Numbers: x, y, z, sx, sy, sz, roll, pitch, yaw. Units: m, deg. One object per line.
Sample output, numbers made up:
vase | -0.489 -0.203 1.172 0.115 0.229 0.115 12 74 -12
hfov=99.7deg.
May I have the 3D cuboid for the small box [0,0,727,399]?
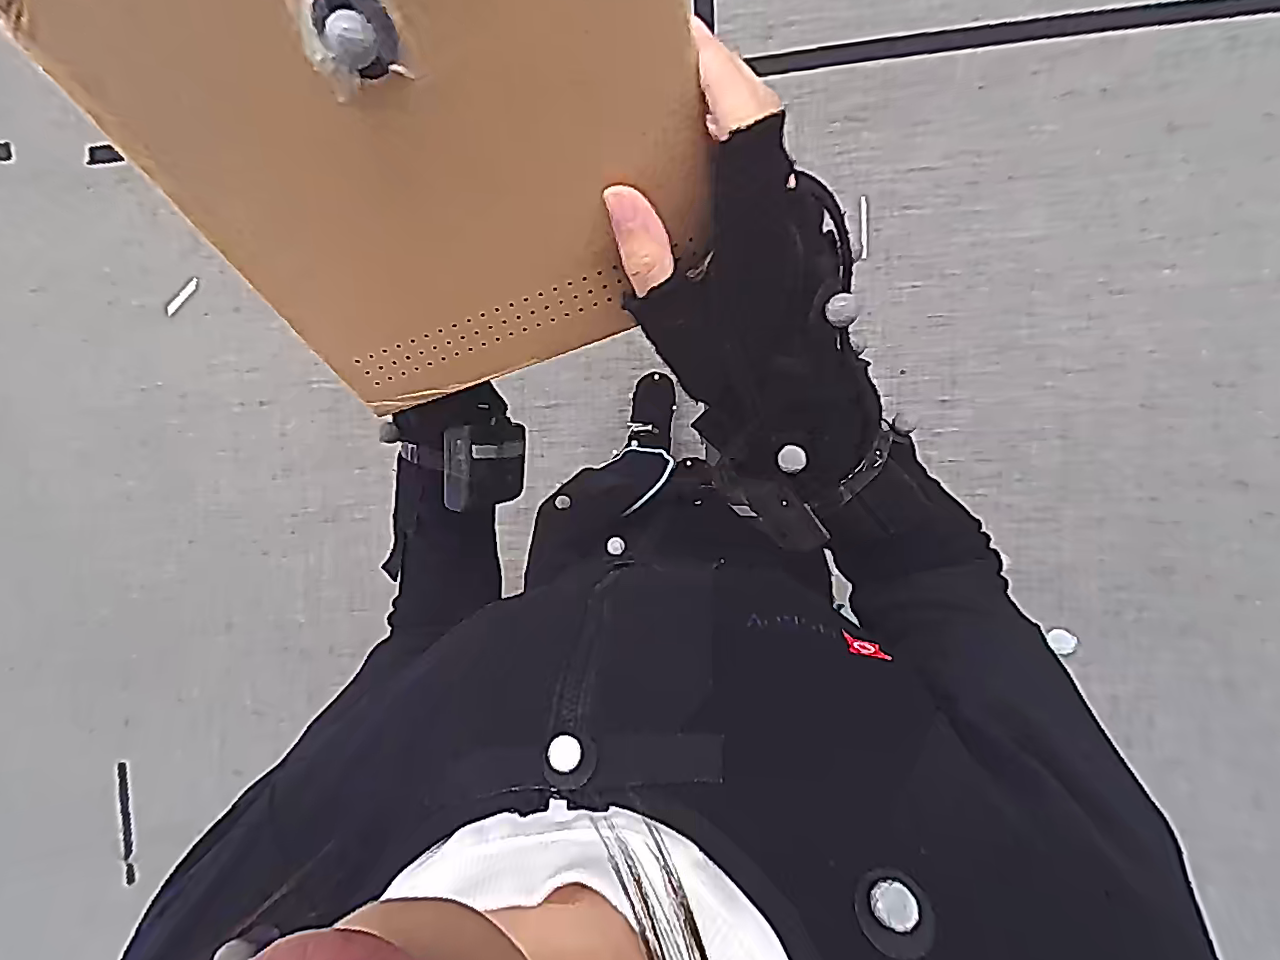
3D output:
small box | -0.074 -0.162 0.237 0.179 0.176 0.168 -17 52 7
